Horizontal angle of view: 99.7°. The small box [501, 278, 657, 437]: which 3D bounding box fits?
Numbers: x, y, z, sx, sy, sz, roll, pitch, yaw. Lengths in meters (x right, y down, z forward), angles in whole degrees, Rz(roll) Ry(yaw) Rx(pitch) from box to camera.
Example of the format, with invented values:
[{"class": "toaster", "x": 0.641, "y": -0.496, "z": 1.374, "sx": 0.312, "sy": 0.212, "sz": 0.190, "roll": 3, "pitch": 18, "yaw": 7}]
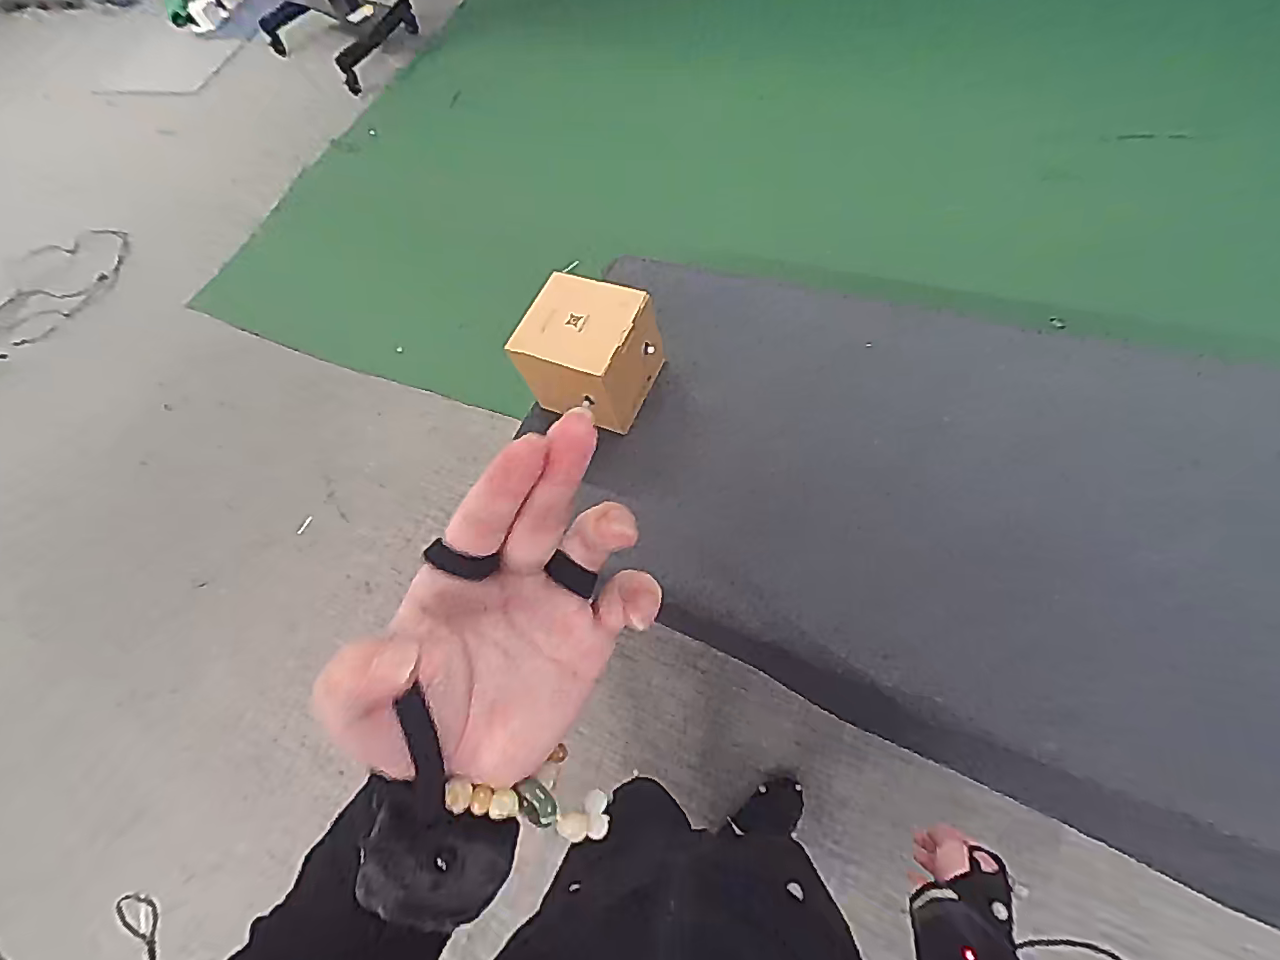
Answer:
[{"class": "small box", "x": -0.086, "y": -0.193, "z": 0.886, "sx": 0.179, "sy": 0.176, "sz": 0.168, "roll": 21, "pitch": 68, "yaw": 21}]
